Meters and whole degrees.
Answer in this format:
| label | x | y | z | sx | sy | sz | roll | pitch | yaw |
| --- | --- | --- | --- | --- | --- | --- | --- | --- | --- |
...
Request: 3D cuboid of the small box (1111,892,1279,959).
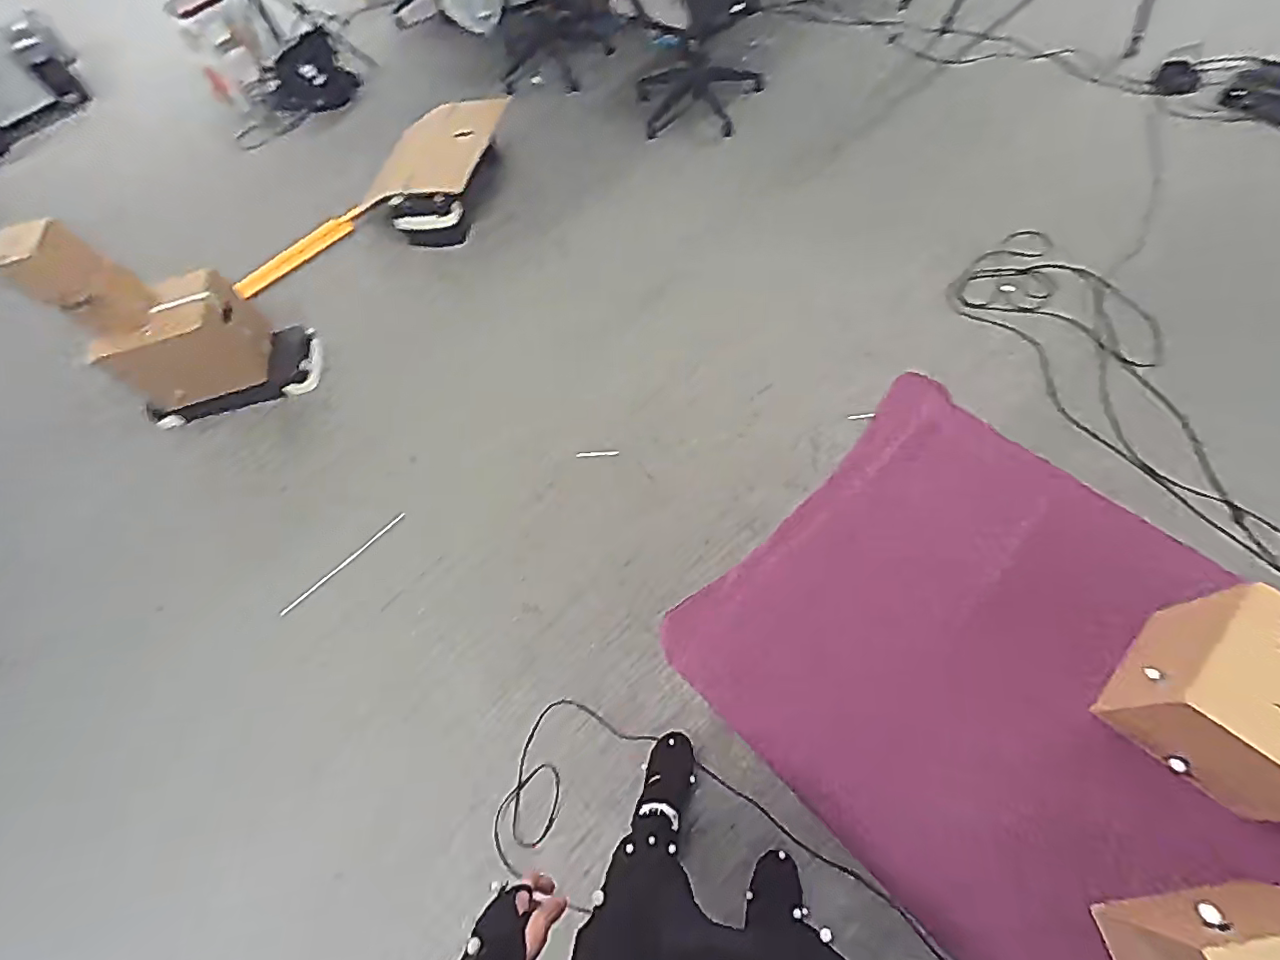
| label | x | y | z | sx | sy | sz | roll | pitch | yaw |
| --- | --- | --- | --- | --- | --- | --- | --- | --- | --- |
| small box | 0.591 | 0.501 | 0.493 | 0.179 | 0.176 | 0.168 | -10 | 62 | 2 |
